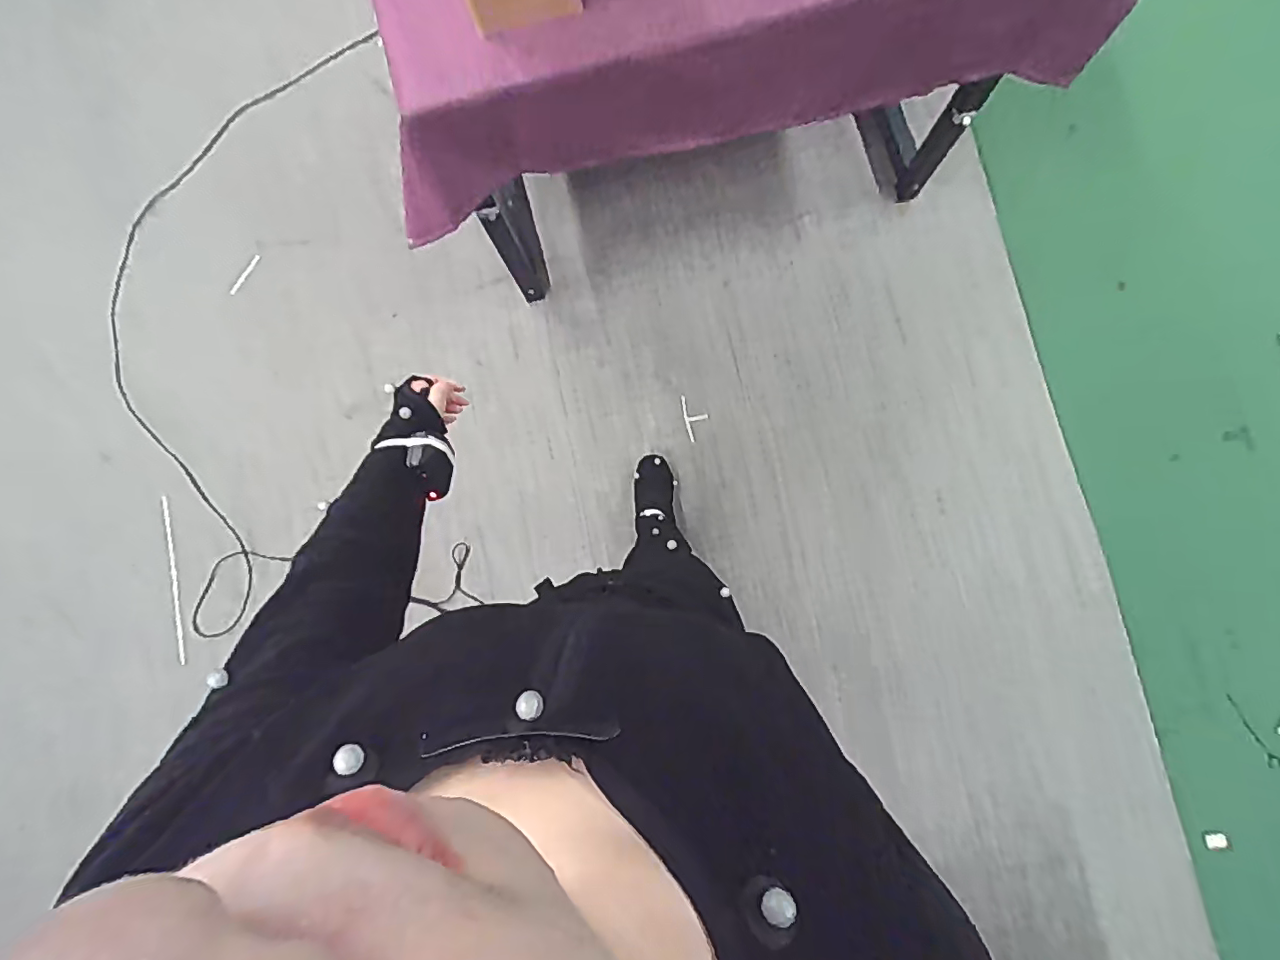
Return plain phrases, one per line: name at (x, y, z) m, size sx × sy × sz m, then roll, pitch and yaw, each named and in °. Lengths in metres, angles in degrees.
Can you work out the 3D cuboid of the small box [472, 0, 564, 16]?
small box at (-0.197, -0.844, 0.801) m, size 0.179 × 0.176 × 0.168 m, roll -13°, pitch 83°, yaw 1°
